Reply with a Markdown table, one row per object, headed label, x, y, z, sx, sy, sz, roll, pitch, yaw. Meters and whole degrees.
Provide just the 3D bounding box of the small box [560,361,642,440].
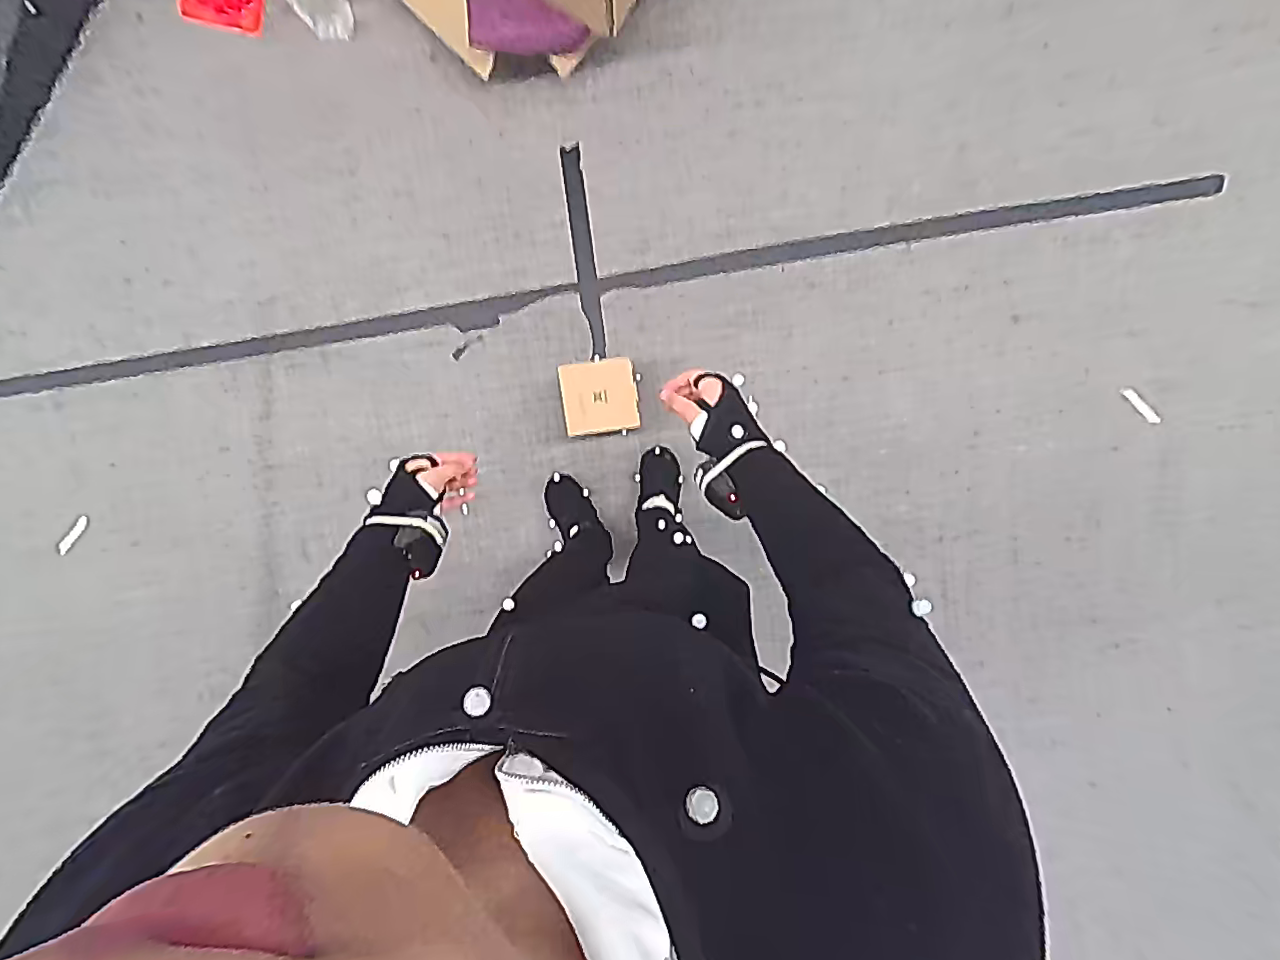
| label | x | y | z | sx | sy | sz | roll | pitch | yaw |
| --- | --- | --- | --- | --- | --- | --- | --- | --- | --- |
| small box | -0.091 | -0.197 | 1.345 | 0.179 | 0.176 | 0.168 | -8 | 96 | 2 |
